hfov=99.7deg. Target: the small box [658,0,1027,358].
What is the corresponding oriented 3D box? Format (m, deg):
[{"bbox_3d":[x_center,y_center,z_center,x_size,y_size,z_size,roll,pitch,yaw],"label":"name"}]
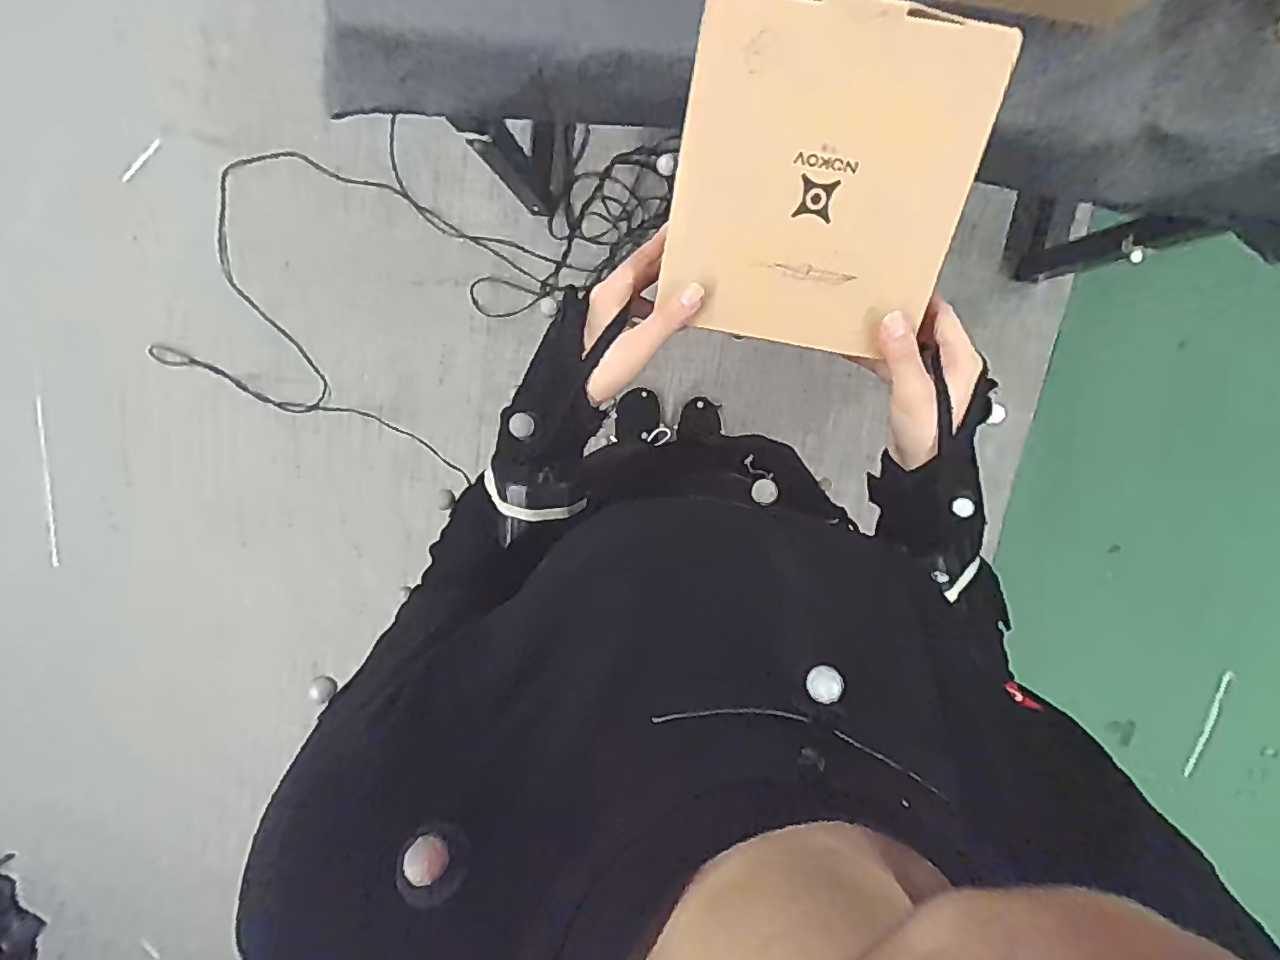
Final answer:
[{"bbox_3d":[0.111,-0.201,0.381,0.168,0.176,0.179,11,114,1],"label":"small box"}]
